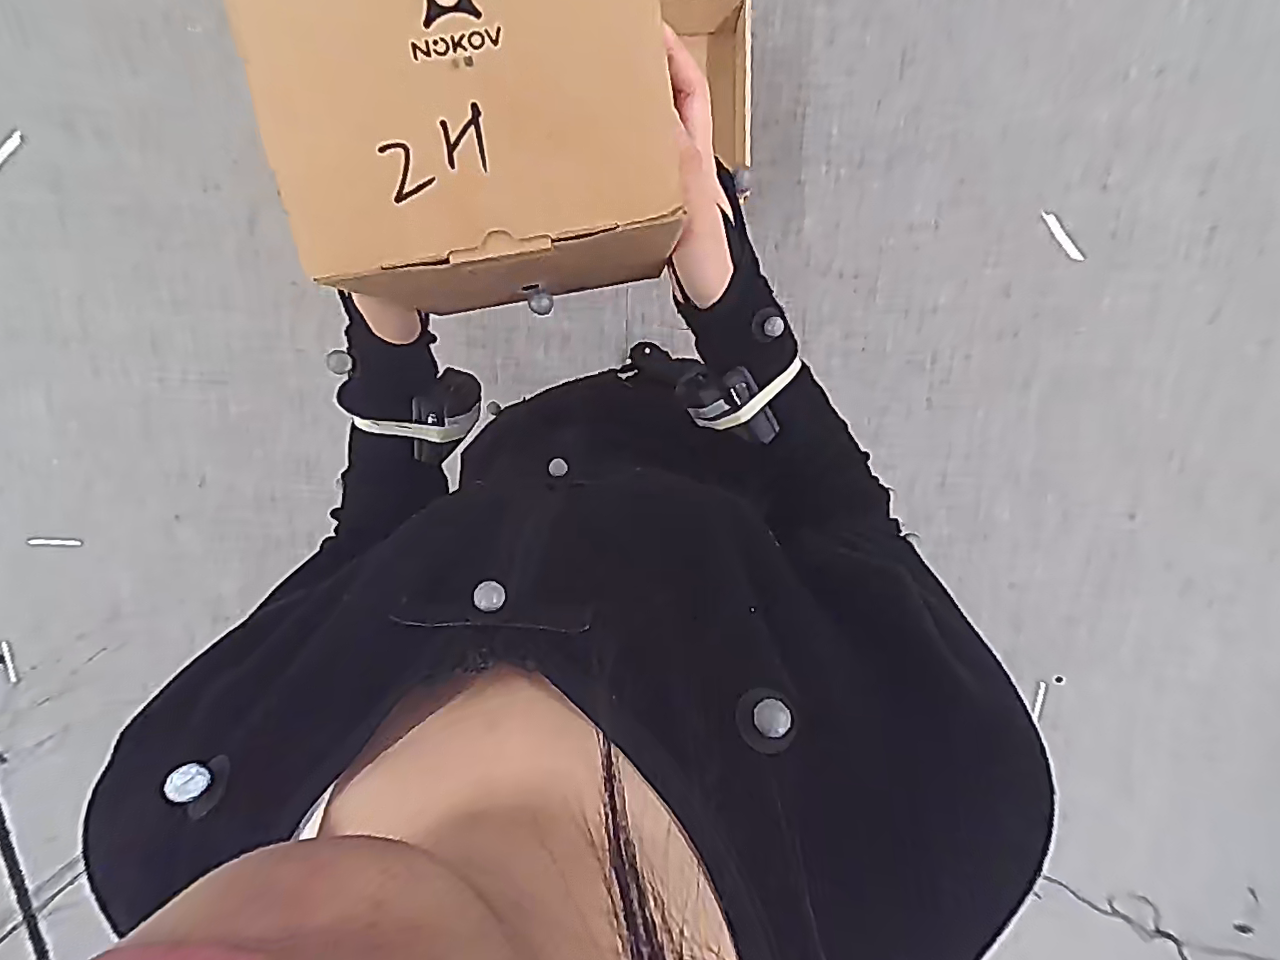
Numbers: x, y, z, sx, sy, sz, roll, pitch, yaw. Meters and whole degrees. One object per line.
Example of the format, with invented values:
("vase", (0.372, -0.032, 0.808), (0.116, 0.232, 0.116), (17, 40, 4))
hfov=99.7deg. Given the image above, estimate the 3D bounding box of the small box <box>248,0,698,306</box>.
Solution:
("small box", (-0.072, -0.202, 0.289), (0.168, 0.176, 0.179), (-10, 103, 0))
